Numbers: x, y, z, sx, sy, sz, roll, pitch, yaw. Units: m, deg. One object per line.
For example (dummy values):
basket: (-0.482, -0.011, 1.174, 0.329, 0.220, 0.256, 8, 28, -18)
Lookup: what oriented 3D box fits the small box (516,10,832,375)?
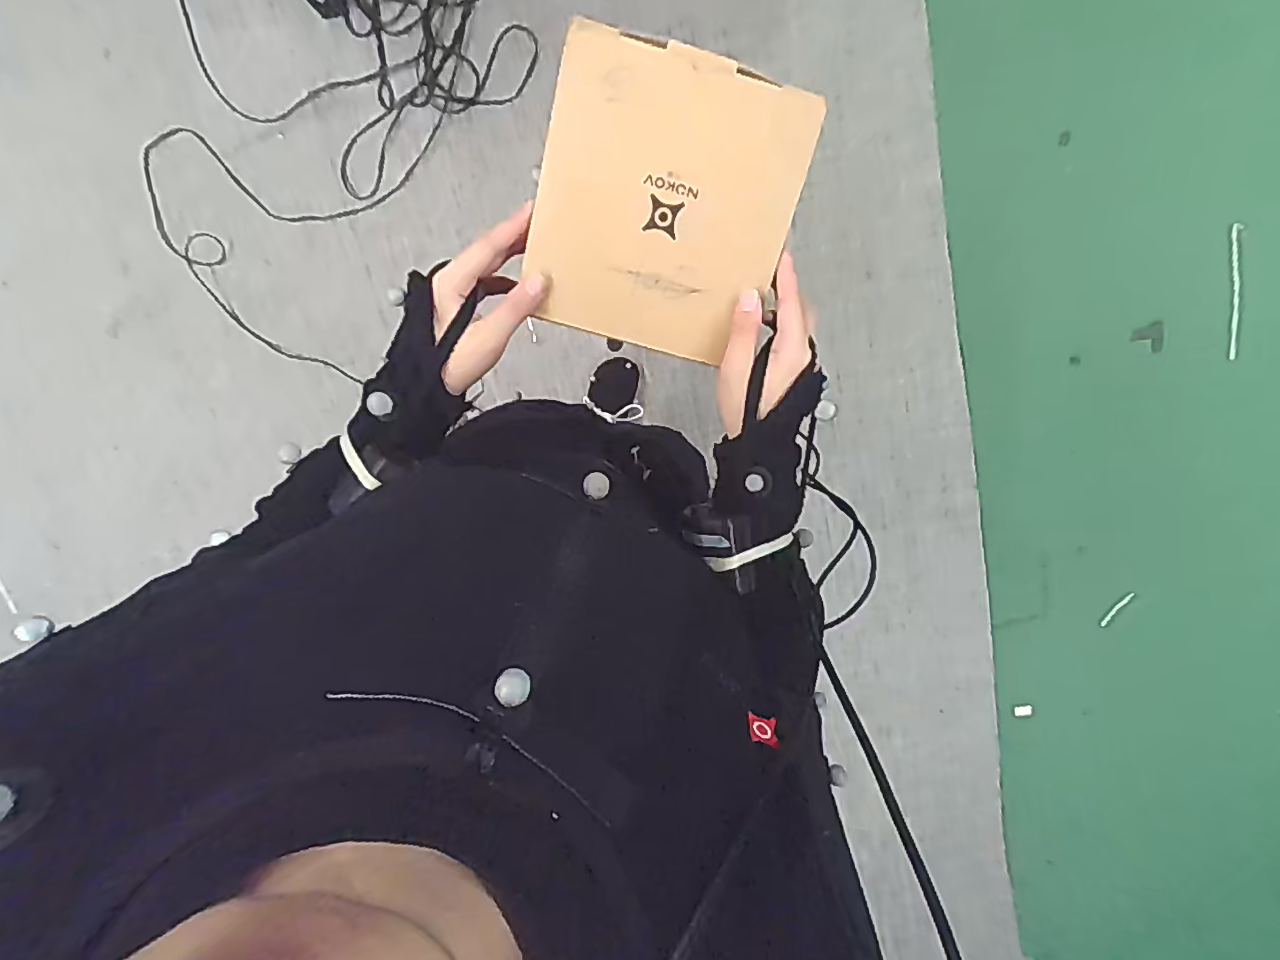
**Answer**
small box: (0.015, -0.196, 0.419, 0.168, 0.176, 0.179, 14, 107, -5)
